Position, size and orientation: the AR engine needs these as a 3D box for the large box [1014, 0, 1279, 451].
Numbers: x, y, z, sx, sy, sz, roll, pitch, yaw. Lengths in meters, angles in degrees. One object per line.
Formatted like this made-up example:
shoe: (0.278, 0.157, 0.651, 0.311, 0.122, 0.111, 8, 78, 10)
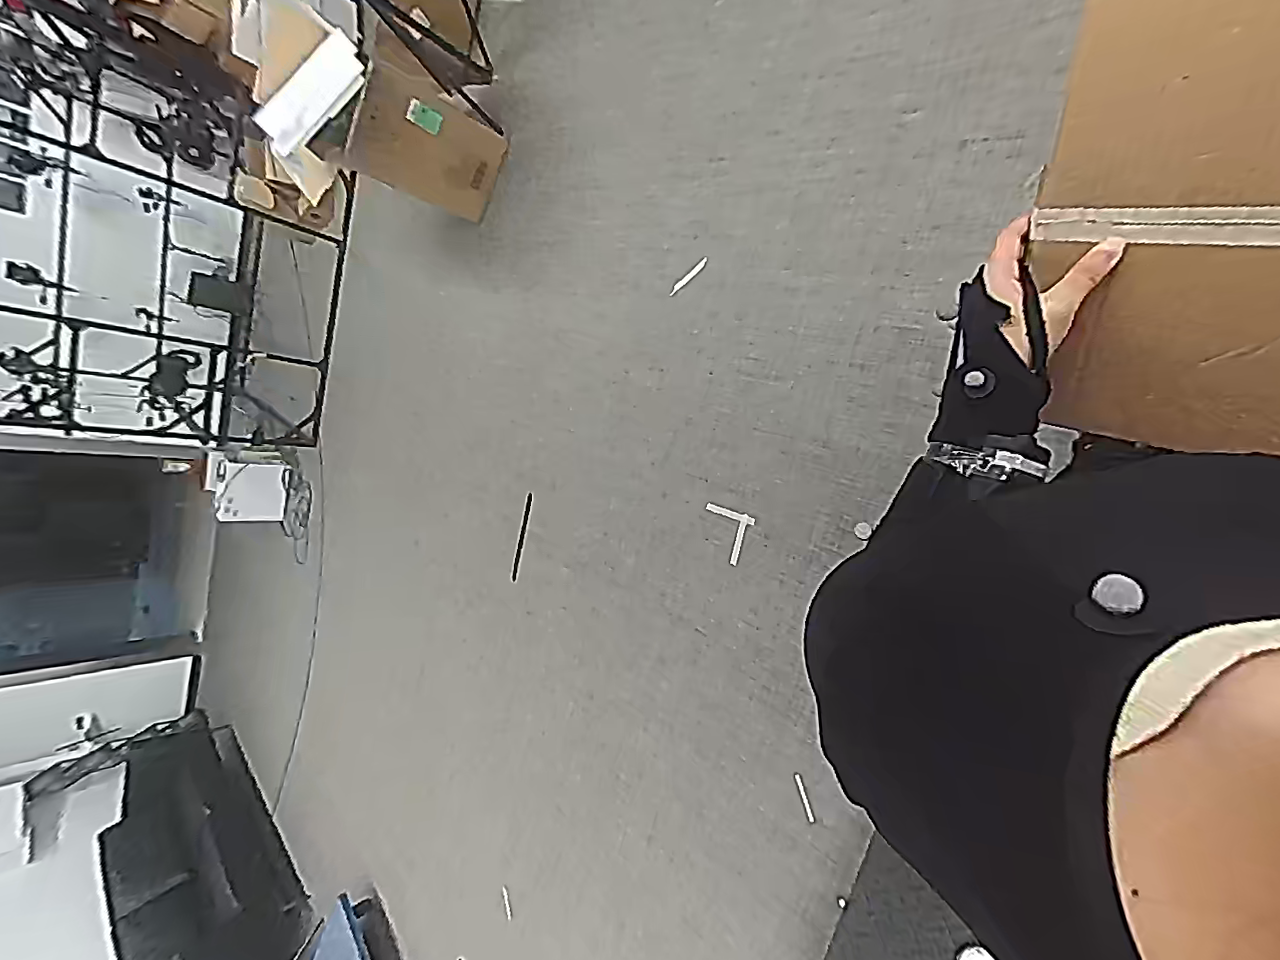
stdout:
large box: (0.532, -0.208, 0.332, 0.408, 0.320, 0.320, 24, 140, 42)
